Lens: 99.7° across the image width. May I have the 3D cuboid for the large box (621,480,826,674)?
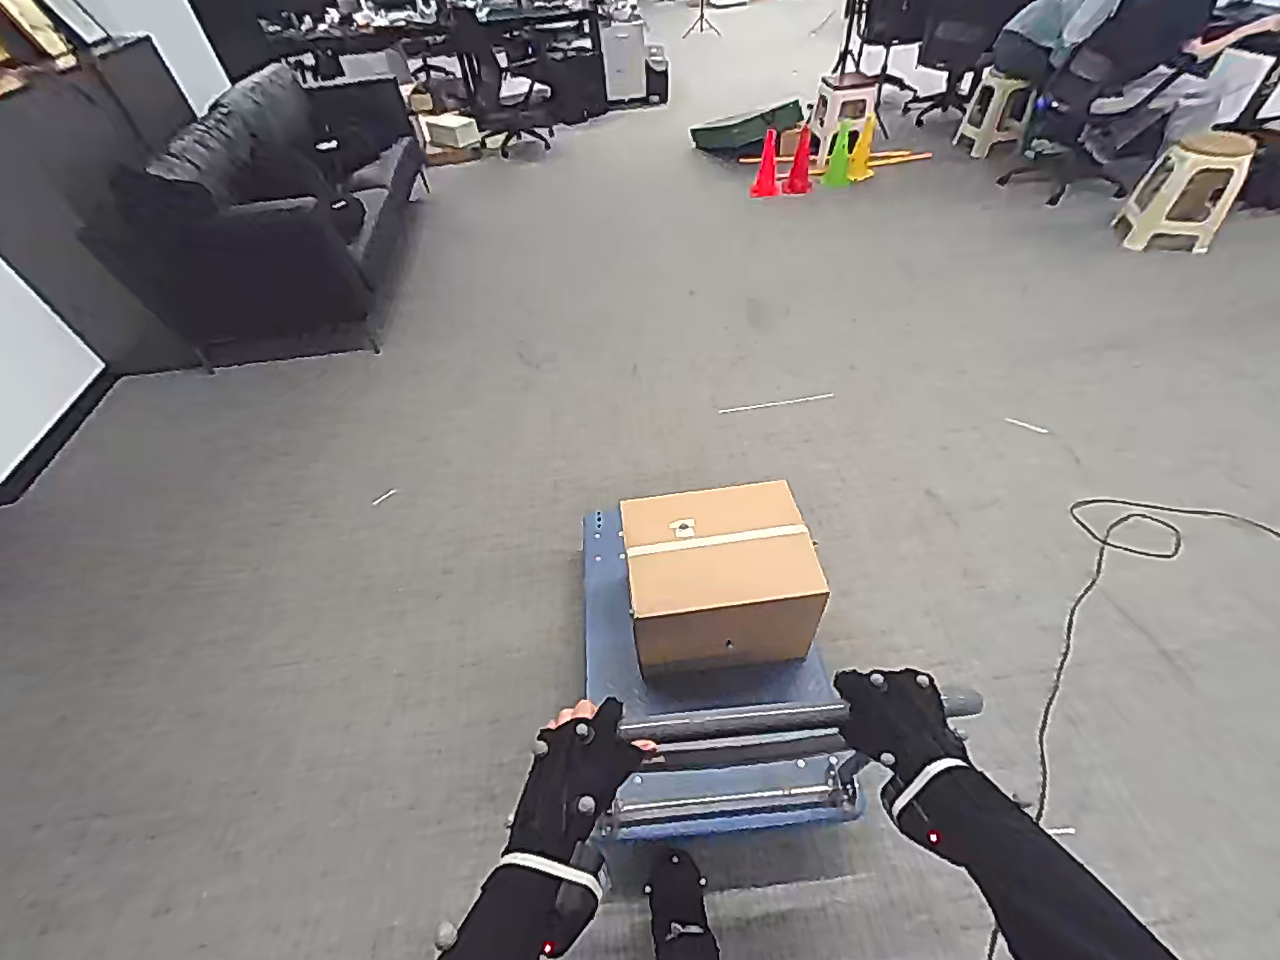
[{"bbox_3d":[0.185,0.240,1.317,0.408,0.320,0.320,-9,48,-1],"label":"large box"}]
